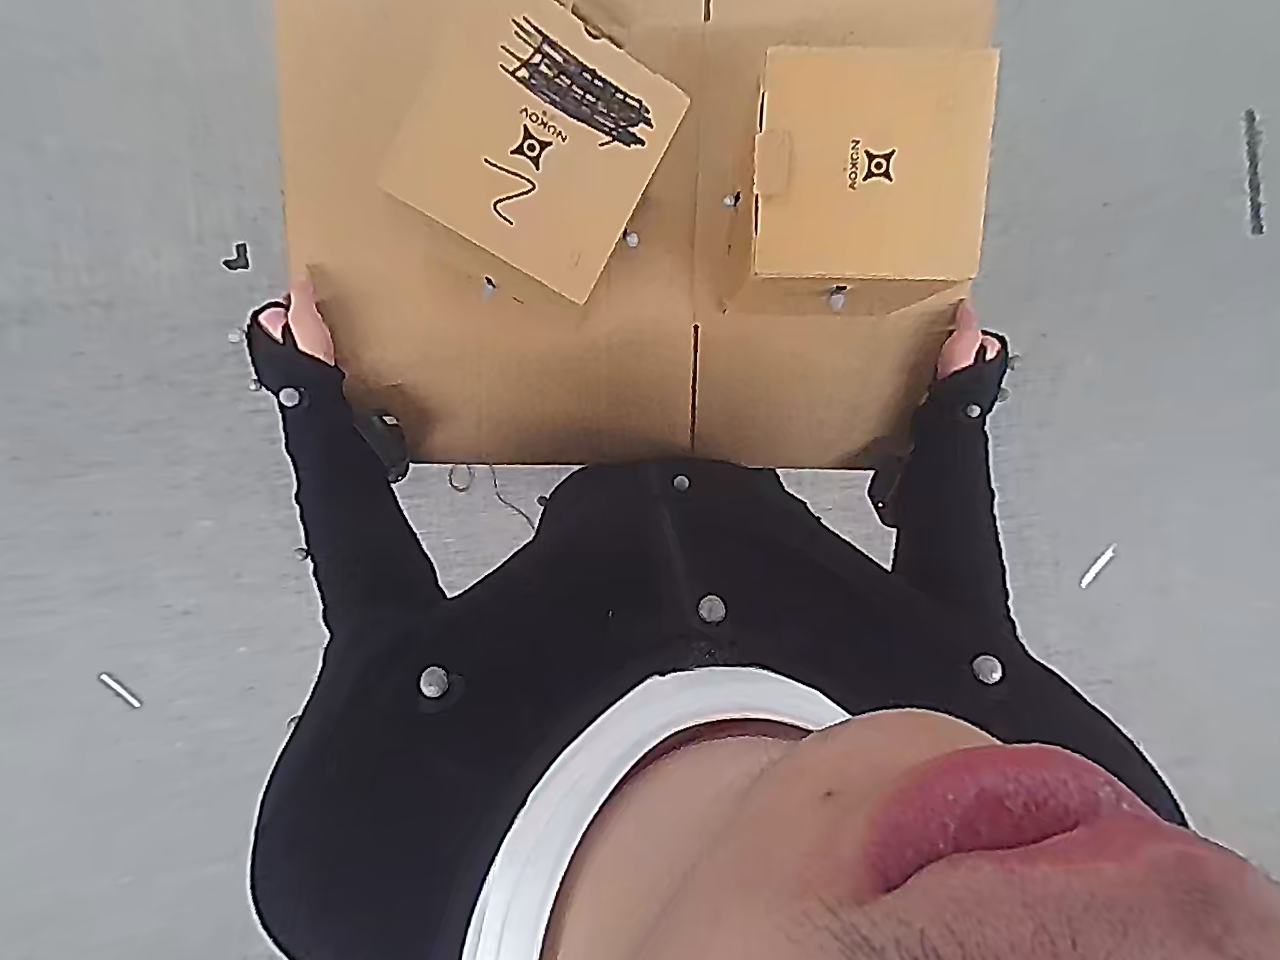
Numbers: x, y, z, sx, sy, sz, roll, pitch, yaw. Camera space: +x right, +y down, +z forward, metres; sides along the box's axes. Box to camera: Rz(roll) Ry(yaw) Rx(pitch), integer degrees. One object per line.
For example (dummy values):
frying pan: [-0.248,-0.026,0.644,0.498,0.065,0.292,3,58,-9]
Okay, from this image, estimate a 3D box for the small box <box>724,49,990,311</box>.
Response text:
small box: [0.181,-0.257,0.504,0.179,0.176,0.168,2,97,1]
